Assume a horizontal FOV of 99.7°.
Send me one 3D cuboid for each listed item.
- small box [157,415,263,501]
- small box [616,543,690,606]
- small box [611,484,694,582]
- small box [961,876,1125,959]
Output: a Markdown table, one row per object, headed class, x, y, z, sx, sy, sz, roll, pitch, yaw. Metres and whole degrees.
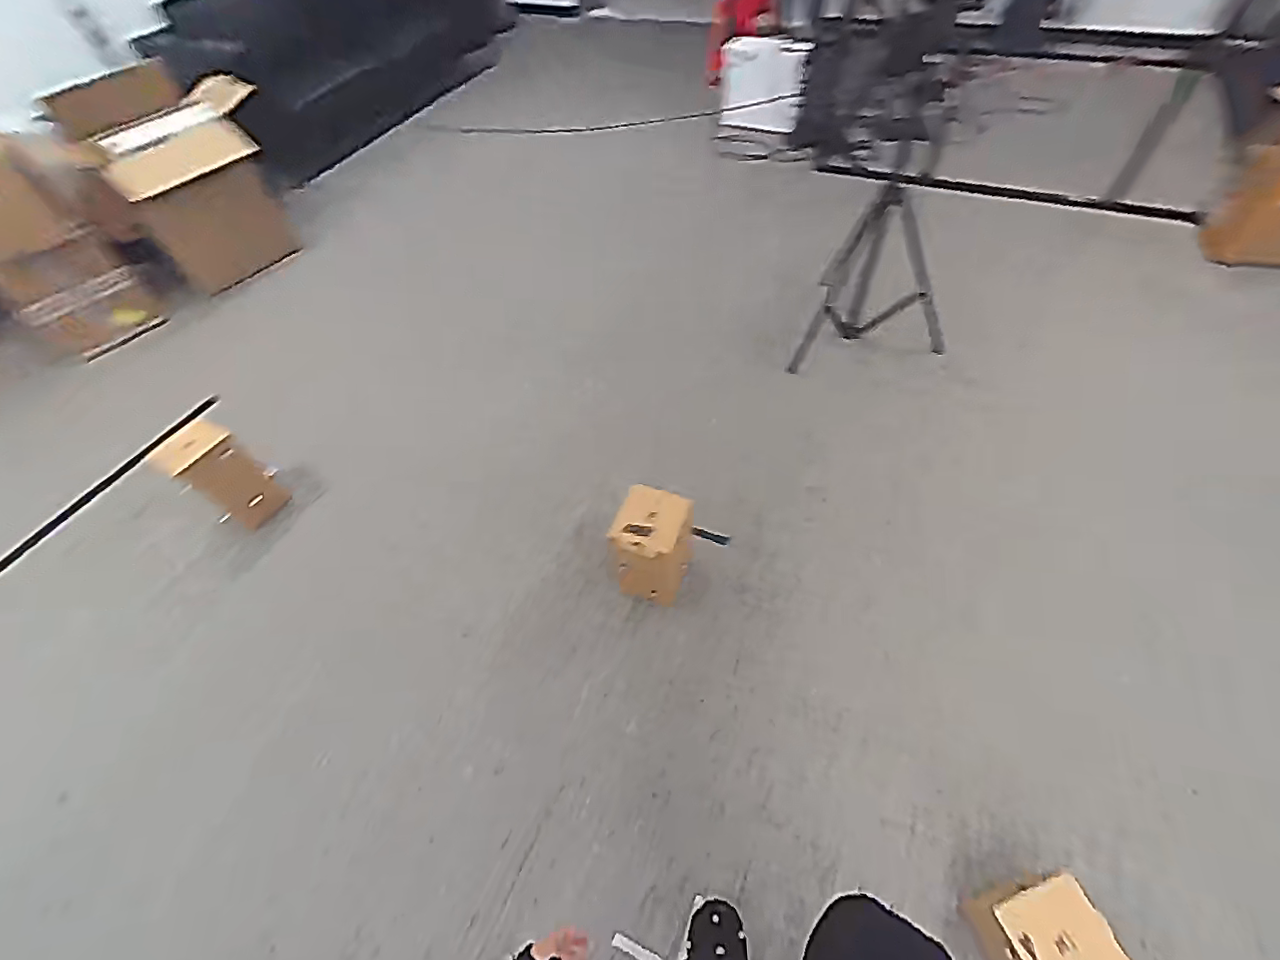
| class | x | y | z | sx | sy | sz | roll | pitch | yaw |
| --- | --- | --- | --- | --- | --- | --- | --- | --- | --- |
| small box | -1.340 | -0.067 | 1.705 | 0.168 | 0.176 | 0.179 | 23 | 59 | 21 |
| small box | 0.045 | 0.240 | 1.568 | 0.168 | 0.176 | 0.179 | 16 | 56 | 15 |
| small box | 0.039 | 0.144 | 1.434 | 0.168 | 0.176 | 0.179 | 17 | 56 | 16 |
| small box | 0.763 | 0.882 | 1.030 | 0.179 | 0.176 | 0.168 | -18 | 55 | -9 |
